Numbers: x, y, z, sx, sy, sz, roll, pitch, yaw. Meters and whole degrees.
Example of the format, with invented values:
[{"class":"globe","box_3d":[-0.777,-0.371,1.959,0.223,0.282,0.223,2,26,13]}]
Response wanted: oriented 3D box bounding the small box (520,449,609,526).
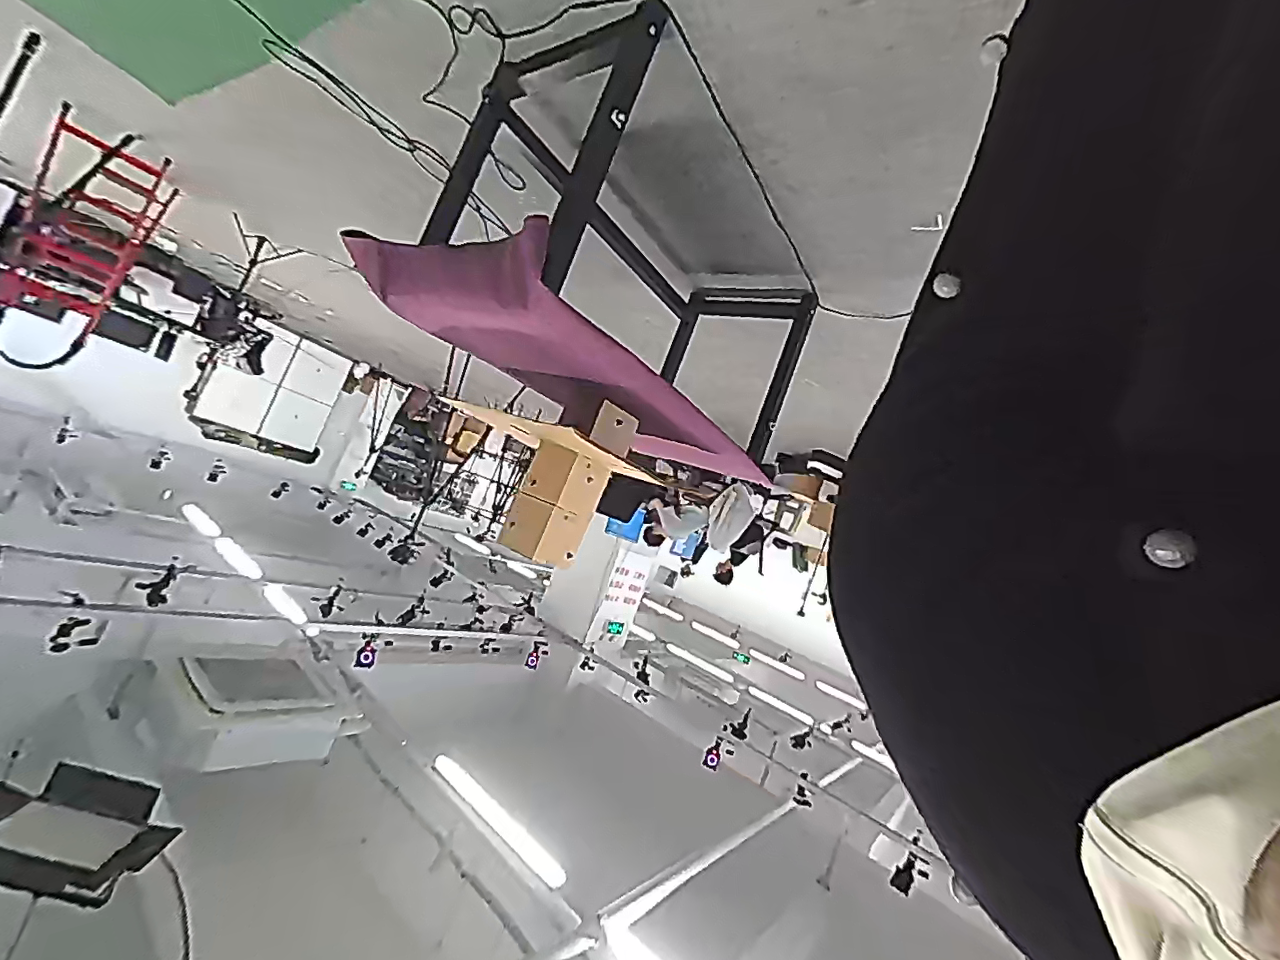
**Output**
[{"class":"small box","box_3d":[-0.226,0.018,1.644,0.179,0.176,0.168,16,171,38]}]
